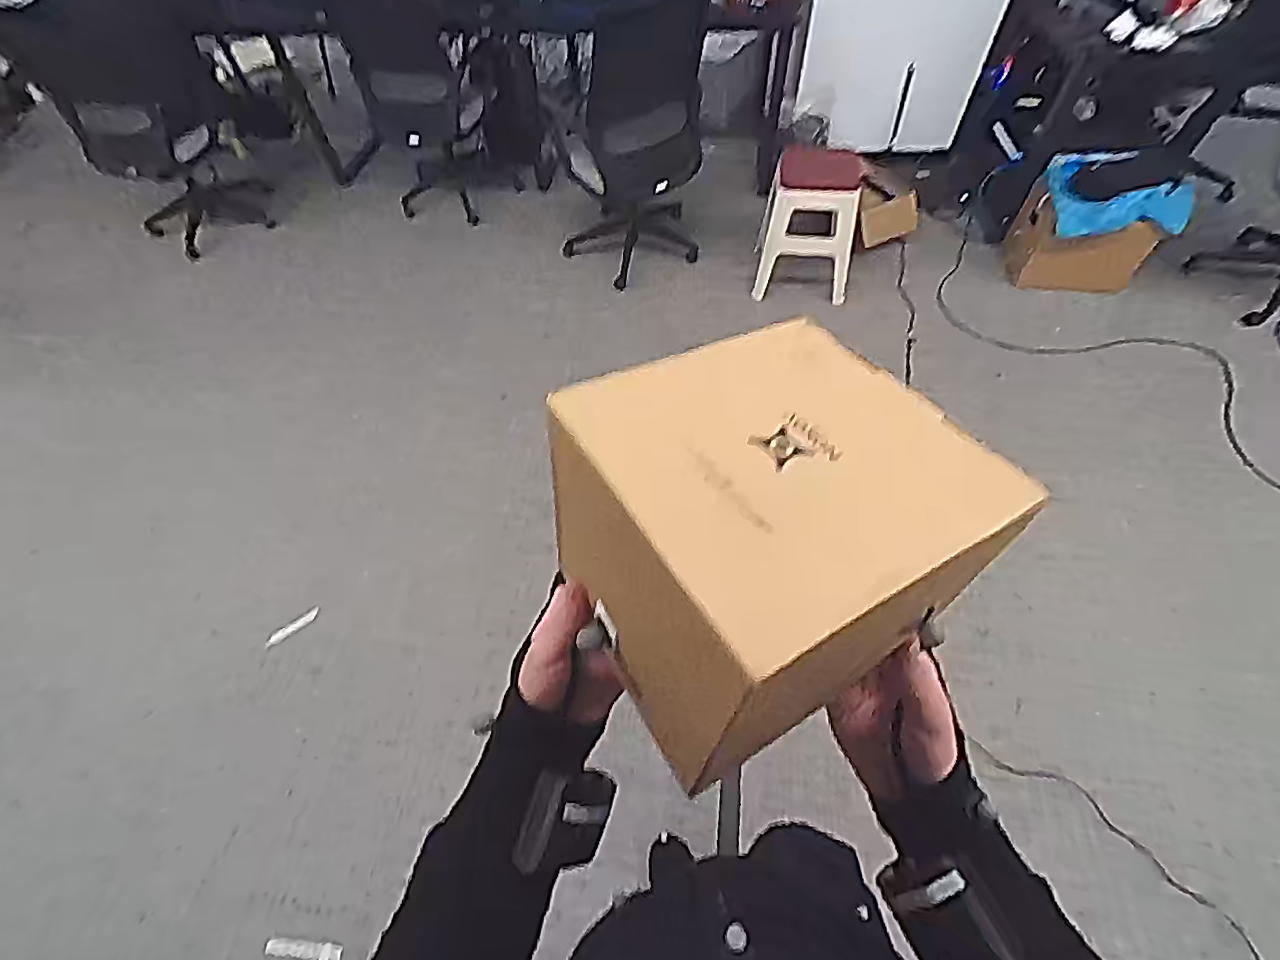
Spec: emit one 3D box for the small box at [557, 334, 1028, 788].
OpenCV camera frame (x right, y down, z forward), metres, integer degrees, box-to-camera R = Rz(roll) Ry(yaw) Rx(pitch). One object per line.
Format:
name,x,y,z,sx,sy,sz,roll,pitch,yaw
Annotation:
small box,0.064,0.045,0.323,0.179,0.176,0.168,-22,53,-22
